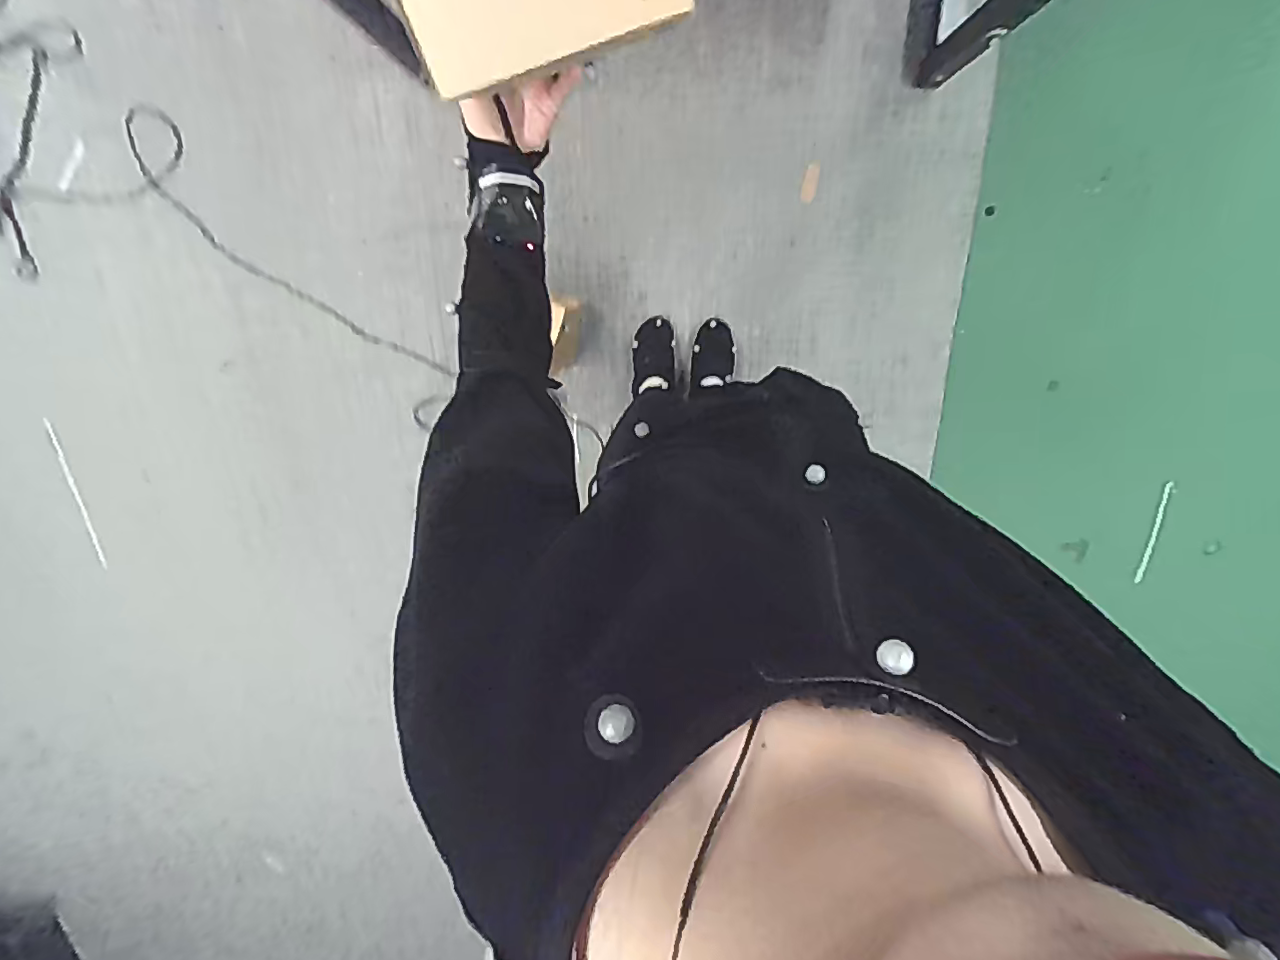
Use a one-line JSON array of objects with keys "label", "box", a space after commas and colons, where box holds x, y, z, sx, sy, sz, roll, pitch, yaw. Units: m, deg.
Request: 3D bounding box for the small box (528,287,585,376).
[{"label": "small box", "box": [-0.237, -0.374, 1.341, 0.168, 0.176, 0.179, 15, 109, -3]}]

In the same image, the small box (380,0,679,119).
[{"label": "small box", "box": [-0.072, -0.363, 0.344, 0.176, 0.168, 0.179, -11, 126, 12]}]

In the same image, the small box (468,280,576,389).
[{"label": "small box", "box": [-0.251, -0.322, 1.189, 0.168, 0.176, 0.179, 21, 107, -4]}]
